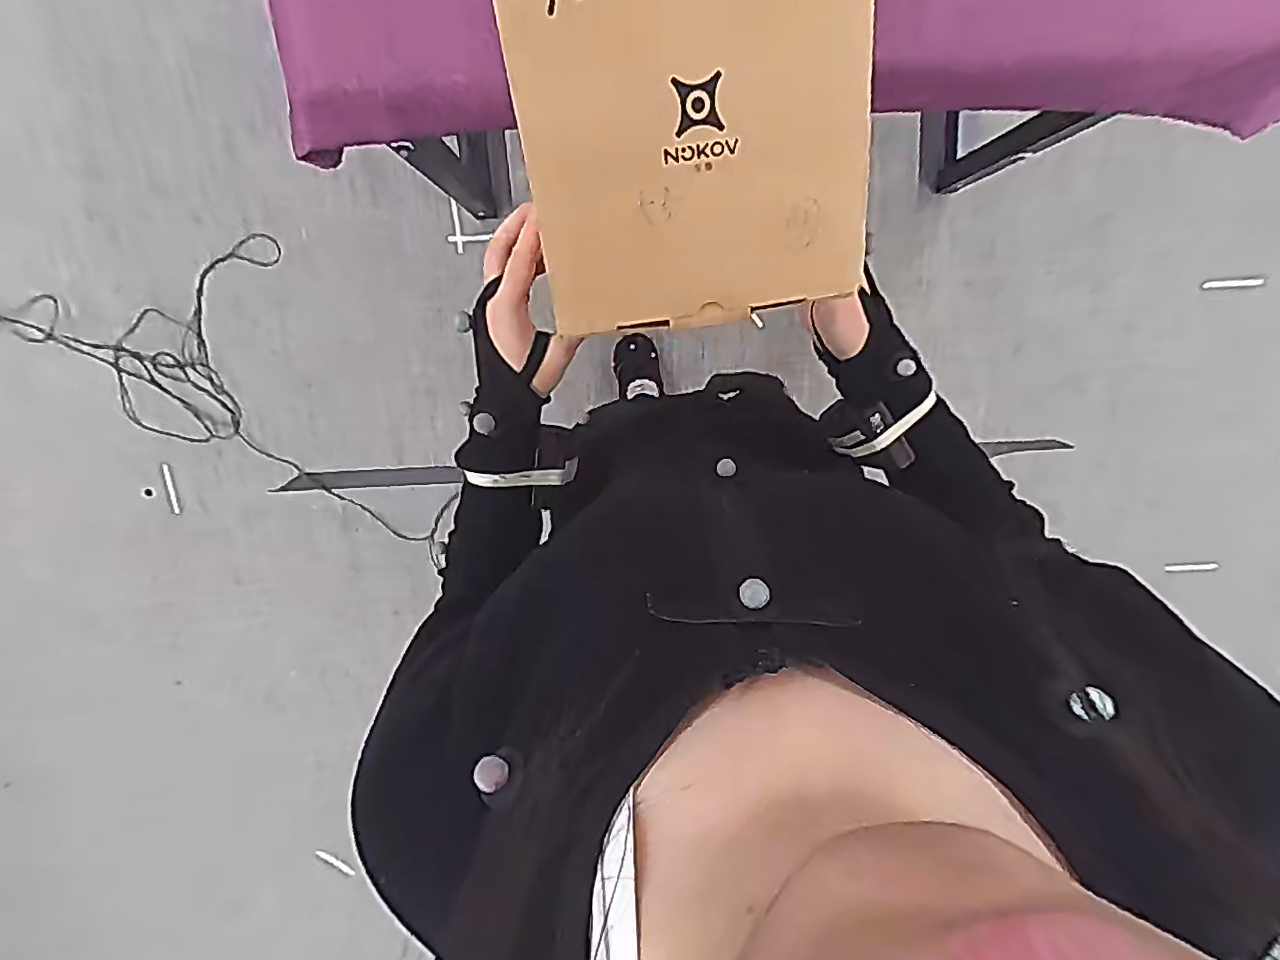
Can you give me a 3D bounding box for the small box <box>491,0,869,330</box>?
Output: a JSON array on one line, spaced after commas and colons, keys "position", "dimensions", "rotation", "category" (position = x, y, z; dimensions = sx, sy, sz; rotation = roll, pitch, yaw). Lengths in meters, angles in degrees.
[{"position": [0.017, -0.202, 0.324], "dimensions": [0.168, 0.176, 0.179], "rotation": [-9, 116, -2], "category": "small box"}]
